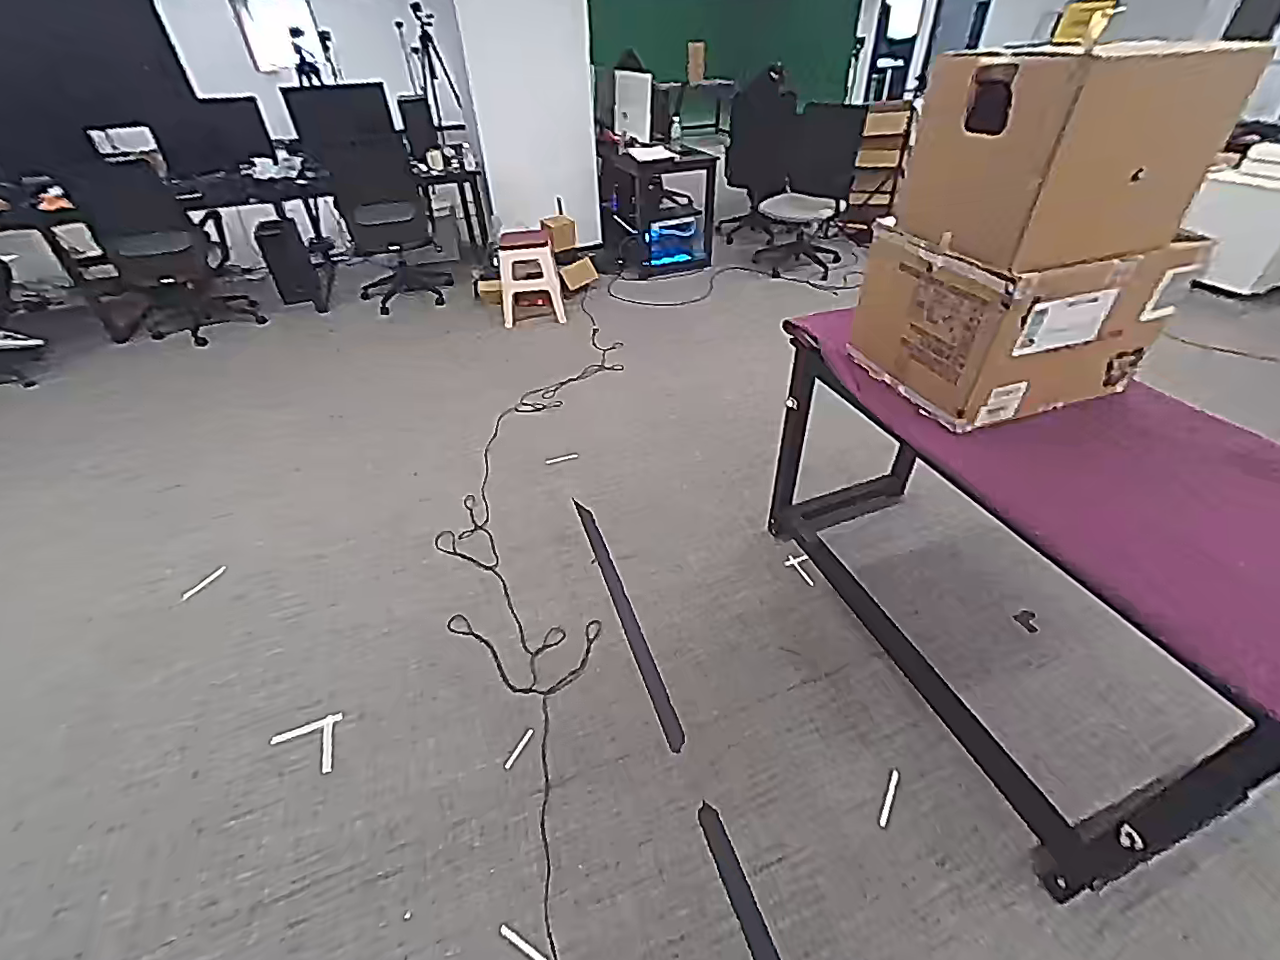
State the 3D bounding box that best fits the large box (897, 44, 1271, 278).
[{"bbox_3d":[0.781,-0.607,1.015,0.408,0.320,0.320,-15,40,-14],"label":"large box"}]
